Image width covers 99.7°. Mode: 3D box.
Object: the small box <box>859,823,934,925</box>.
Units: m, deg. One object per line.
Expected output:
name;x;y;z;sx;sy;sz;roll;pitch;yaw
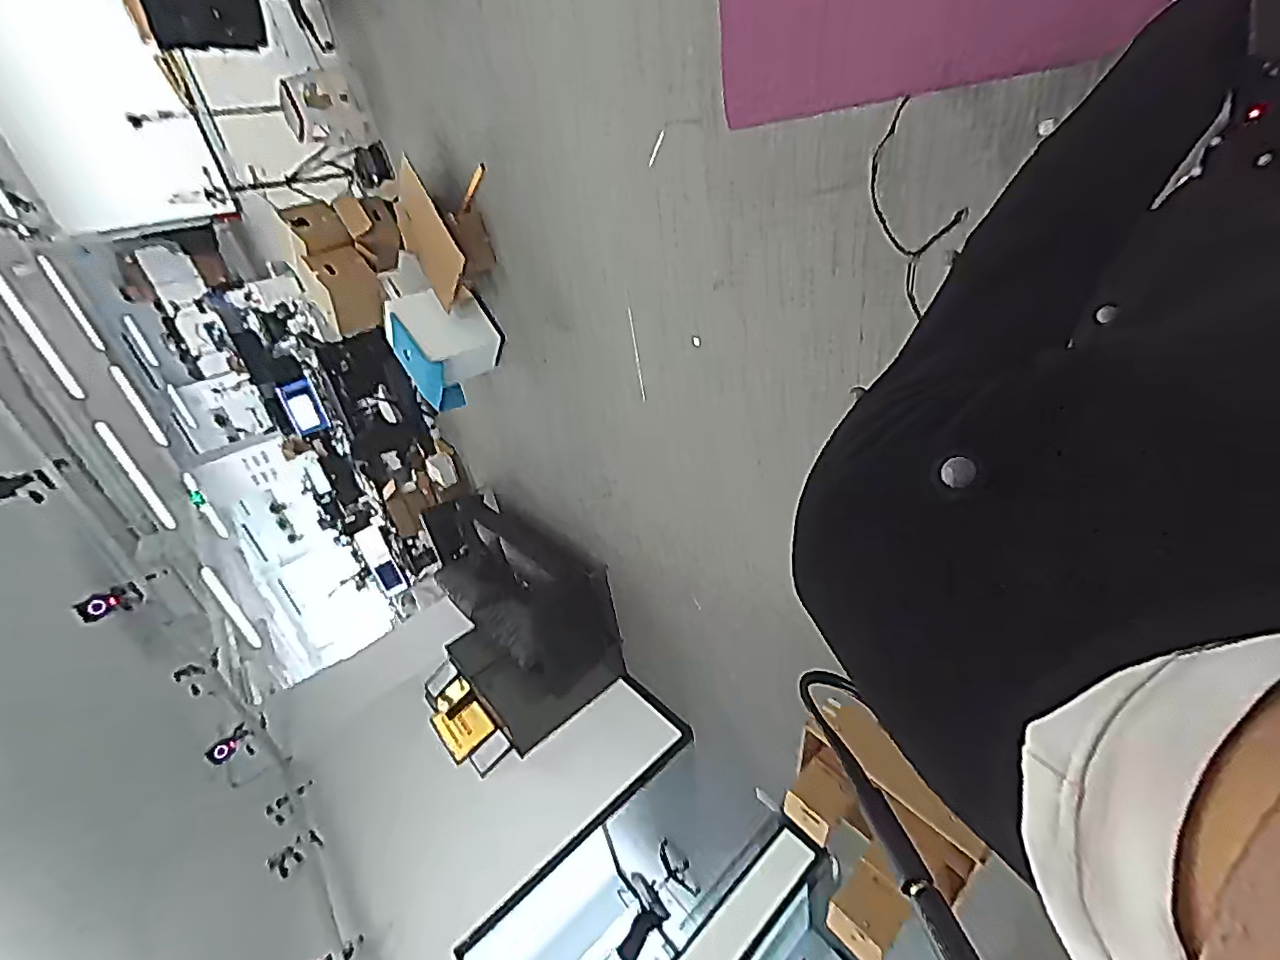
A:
small box;0.811;1.252;1.728;0.168;0.176;0.179;29;136;43

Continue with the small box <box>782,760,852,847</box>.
small box;0.626;1.136;1.909;0.168;0.176;0.179;31;139;39

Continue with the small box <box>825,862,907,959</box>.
small box;0.688;1.327;1.650;0.168;0.176;0.179;28;136;42
